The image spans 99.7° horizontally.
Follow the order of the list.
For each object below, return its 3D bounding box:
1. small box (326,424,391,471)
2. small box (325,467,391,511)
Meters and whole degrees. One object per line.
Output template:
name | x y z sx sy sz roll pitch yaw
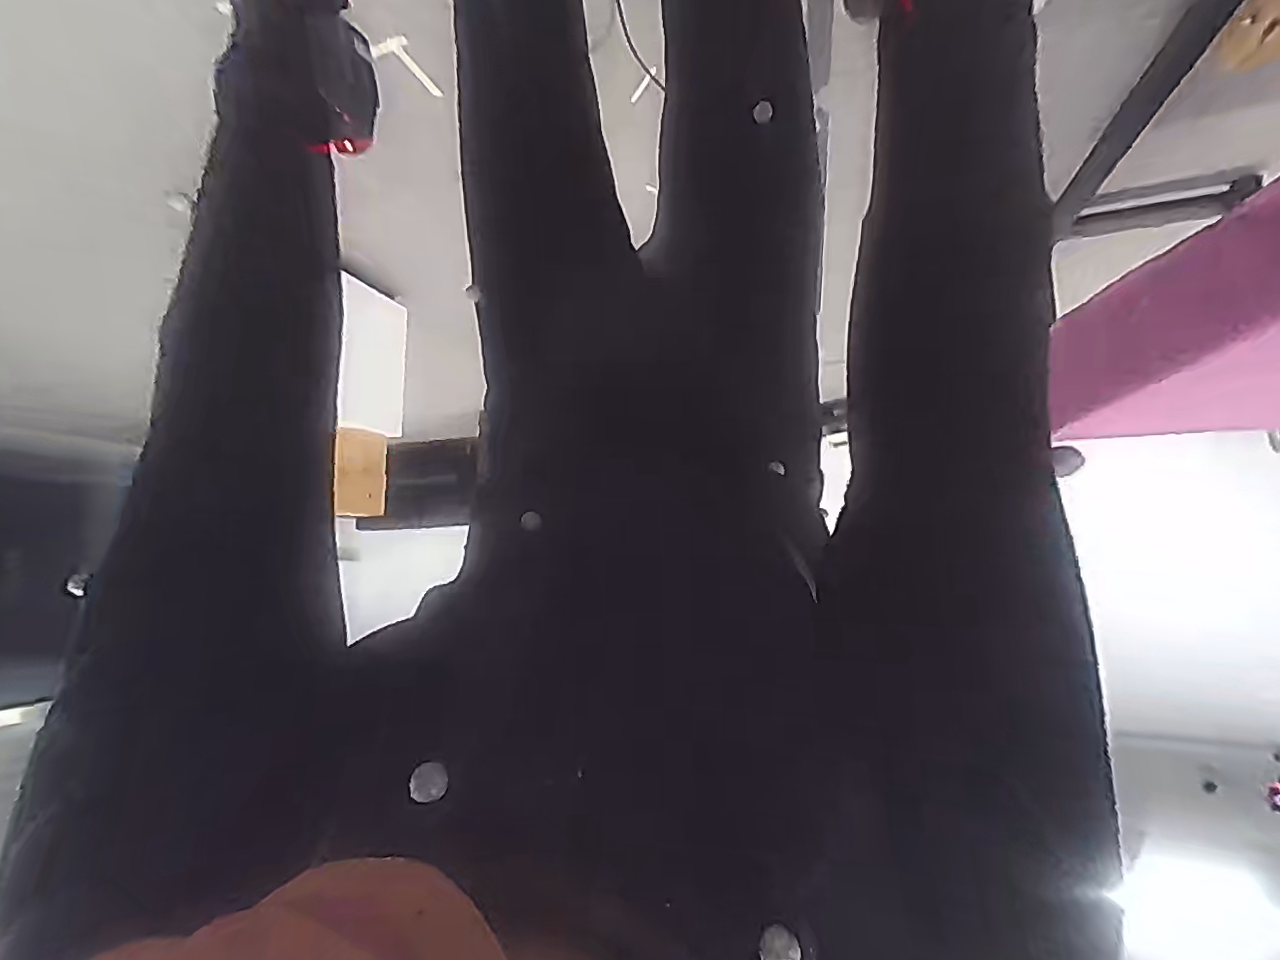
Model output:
small box | -1.138 -0.128 2.199 0.179 0.176 0.168 -1 174 18
small box | -1.134 0.036 2.182 0.168 0.176 0.179 -1 174 18
